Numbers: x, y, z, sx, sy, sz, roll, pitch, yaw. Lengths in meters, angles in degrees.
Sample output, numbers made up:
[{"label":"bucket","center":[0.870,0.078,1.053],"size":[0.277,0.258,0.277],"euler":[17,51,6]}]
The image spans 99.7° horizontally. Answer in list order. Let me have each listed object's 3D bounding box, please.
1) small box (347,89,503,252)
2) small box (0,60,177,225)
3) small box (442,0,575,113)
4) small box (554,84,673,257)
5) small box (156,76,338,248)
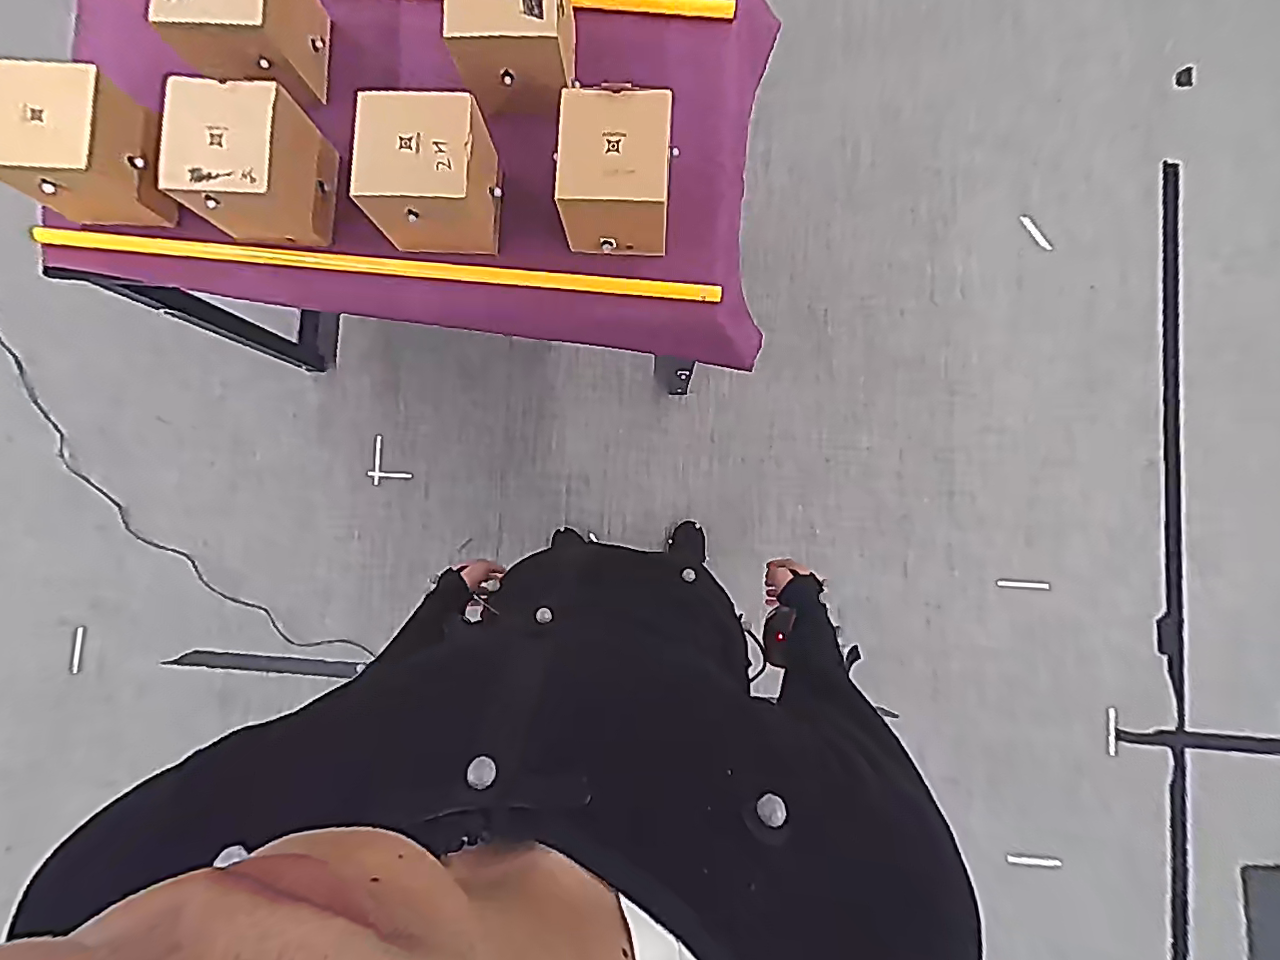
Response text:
[{"label":"small box","center":[-0.334,-0.485,0.870],"size":[0.179,0.176,0.168],"euler":[3,86,2]},{"label":"small box","center":[-0.900,-0.538,0.883],"size":[0.179,0.176,0.168],"euler":[2,87,0]},{"label":"small box","center":[-0.203,-0.735,0.881],"size":[0.179,0.176,0.168],"euler":[1,88,2]},{"label":"small box","center":[-0.036,-0.484,0.864],"size":[0.168,0.176,0.179],"euler":[3,85,3]},{"label":"small box","center":[-0.620,-0.505,0.876],"size":[0.168,0.176,0.179],"euler":[4,87,3]}]
